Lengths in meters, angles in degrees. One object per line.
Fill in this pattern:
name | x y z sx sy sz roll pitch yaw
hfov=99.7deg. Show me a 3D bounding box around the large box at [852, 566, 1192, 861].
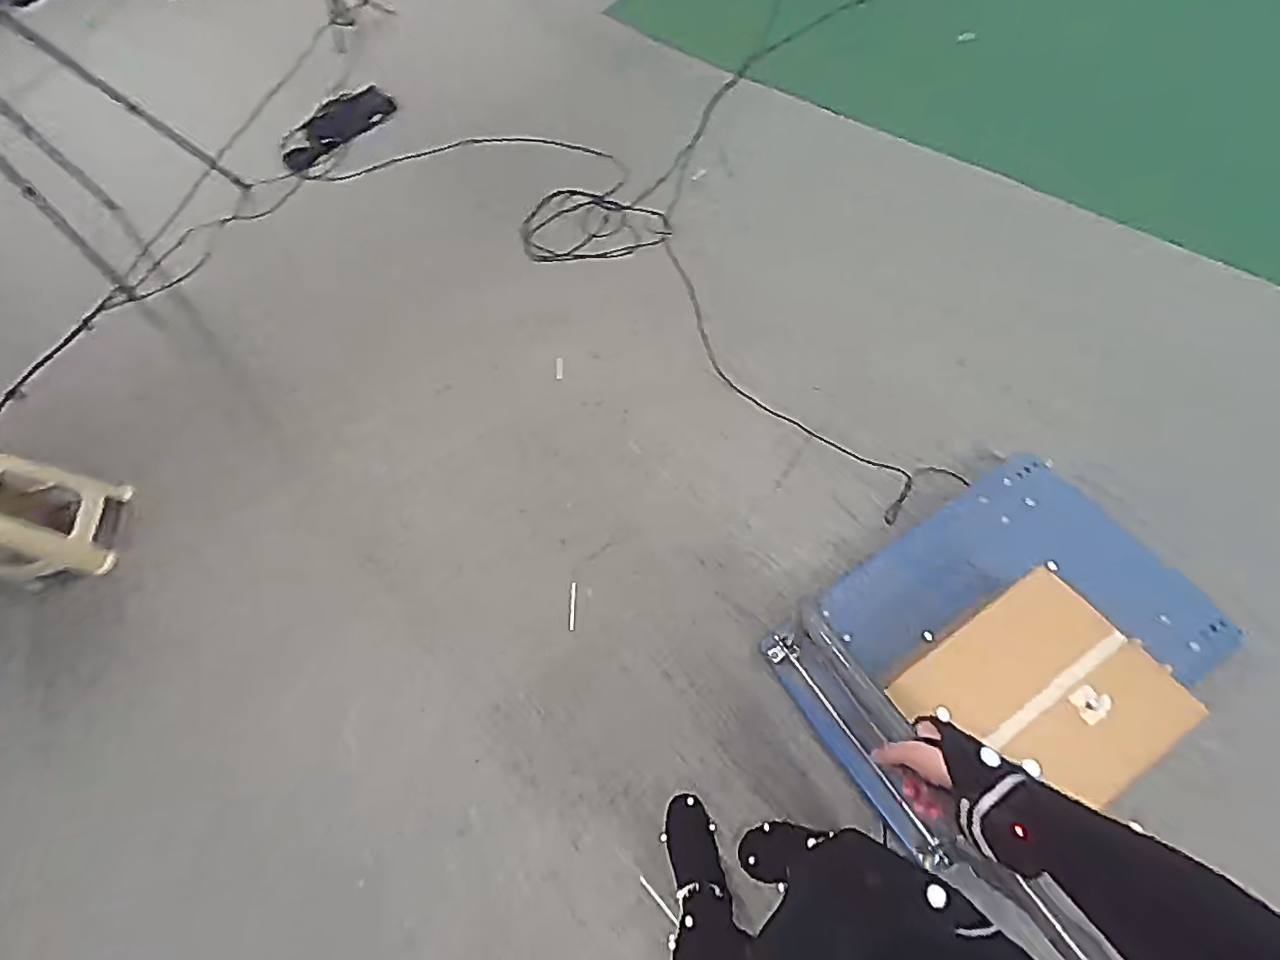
large box | 0.699 0.445 1.067 0.408 0.320 0.320 -35 65 -7
